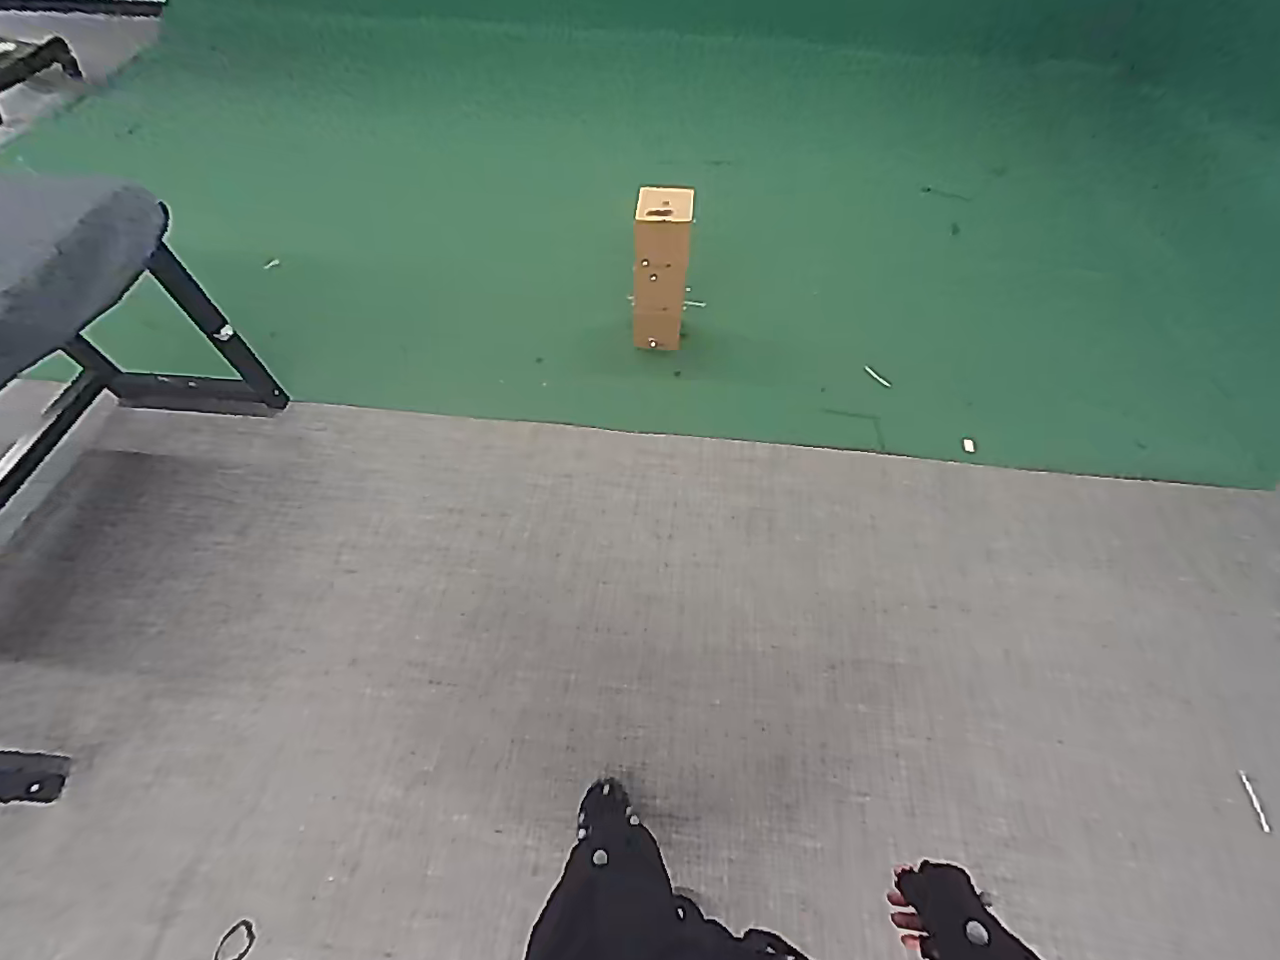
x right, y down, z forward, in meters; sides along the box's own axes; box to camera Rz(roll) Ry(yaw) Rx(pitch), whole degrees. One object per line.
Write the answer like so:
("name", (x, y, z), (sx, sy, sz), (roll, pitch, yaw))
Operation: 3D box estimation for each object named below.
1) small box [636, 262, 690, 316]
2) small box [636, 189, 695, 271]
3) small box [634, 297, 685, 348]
("small box", (0.078, -0.675, 1.800), (0.168, 0.176, 0.179), (6, 56, 4))
("small box", (0.080, -0.766, 1.663), (0.168, 0.176, 0.179), (5, 56, 3))
("small box", (0.073, -0.595, 1.921), (0.168, 0.176, 0.179), (6, 58, 6))
